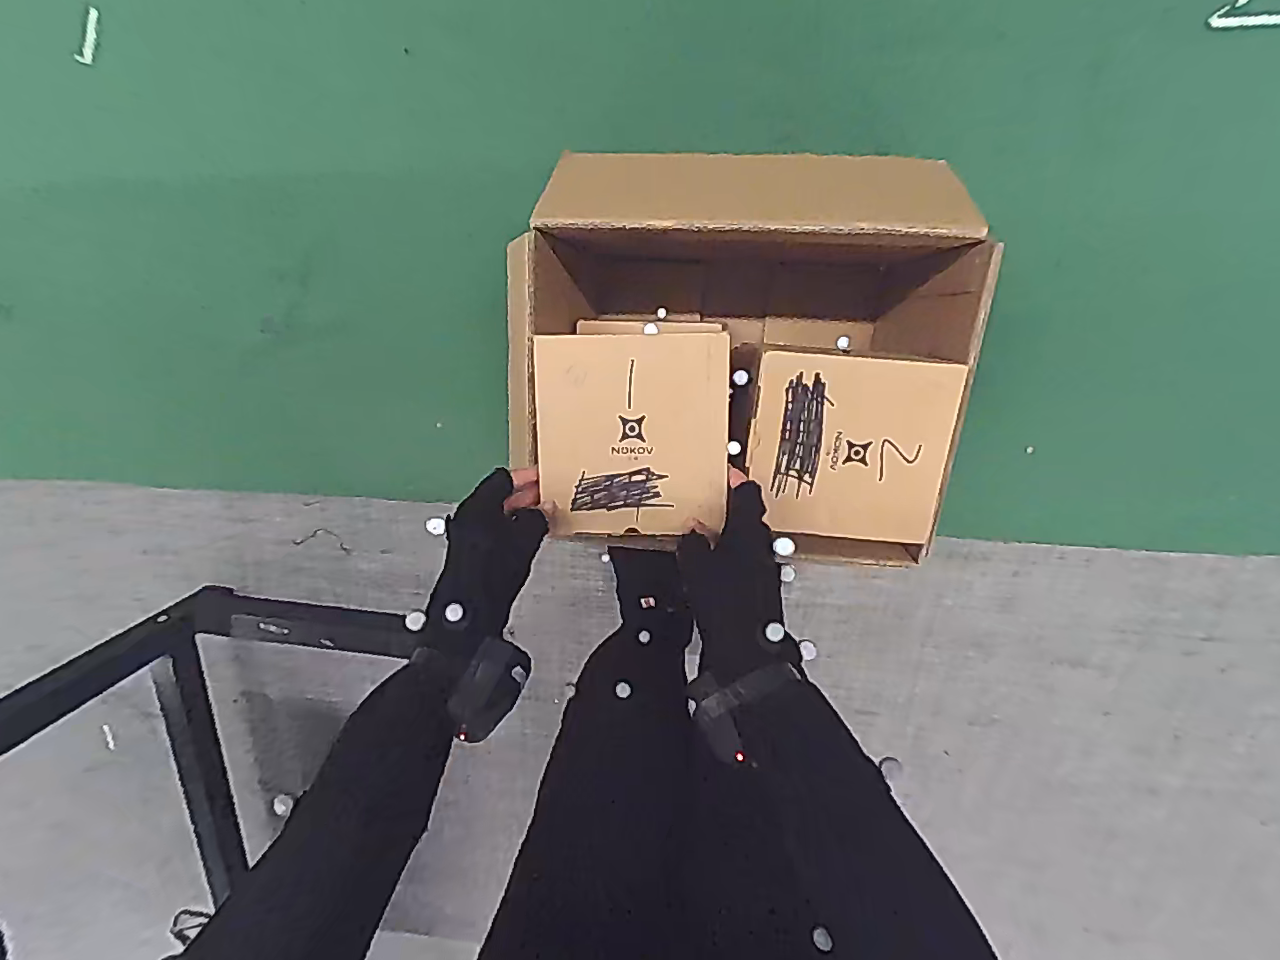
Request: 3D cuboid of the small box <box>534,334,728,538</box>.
[{"bbox_3d":[0.001,-0.053,0.542,0.168,0.176,0.179,1,102,7],"label":"small box"}]
